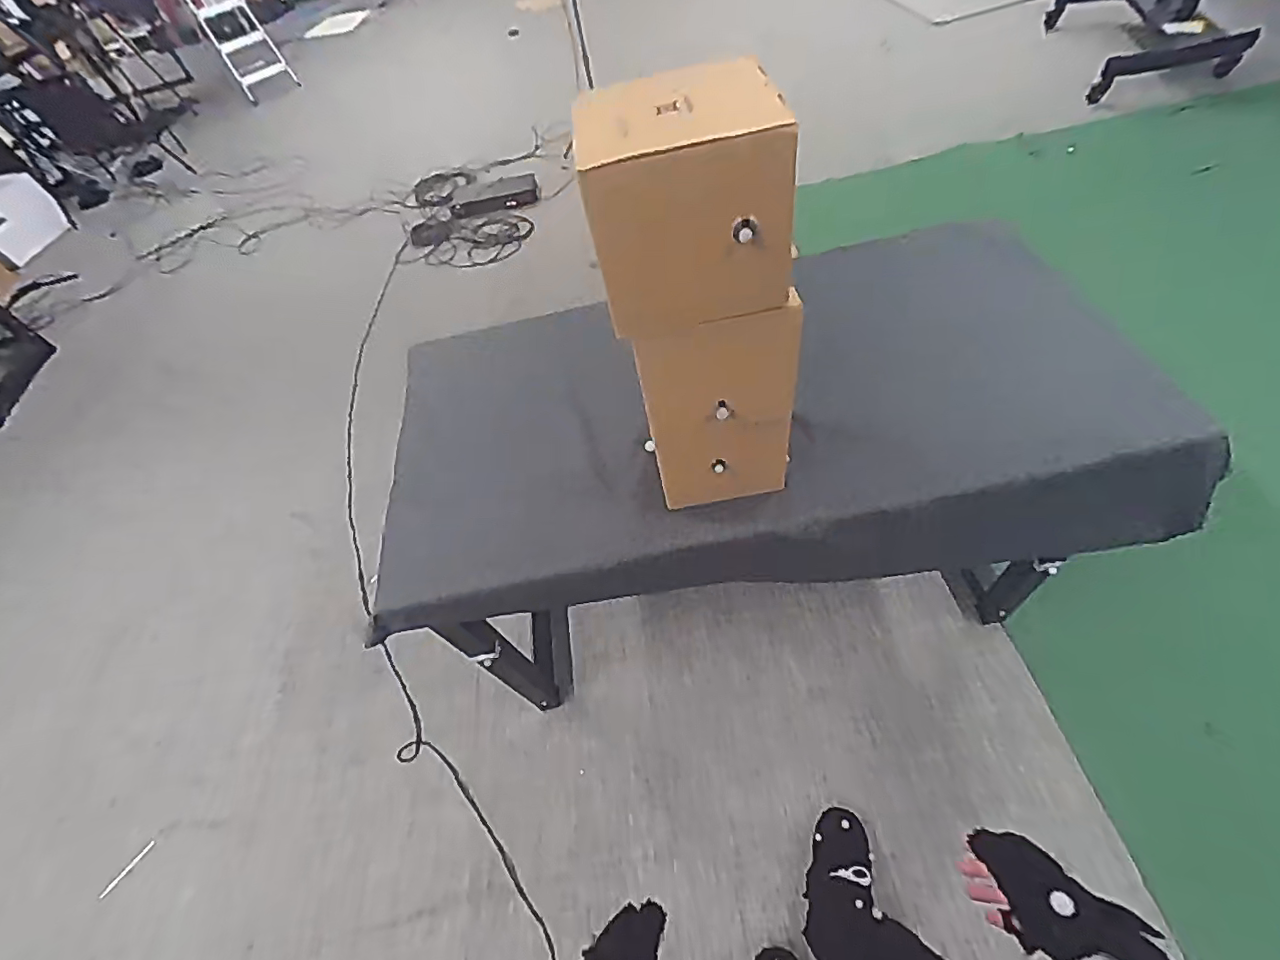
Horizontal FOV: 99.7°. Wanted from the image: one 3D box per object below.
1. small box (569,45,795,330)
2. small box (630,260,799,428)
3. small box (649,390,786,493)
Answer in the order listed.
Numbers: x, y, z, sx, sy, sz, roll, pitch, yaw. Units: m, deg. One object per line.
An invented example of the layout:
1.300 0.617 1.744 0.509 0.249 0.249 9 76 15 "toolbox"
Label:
0.039 -0.273 0.523 0.179 0.176 0.168 -11 53 5 "small box"
0.079 -0.185 0.655 0.179 0.176 0.168 -10 54 4 "small box"
0.105 -0.099 0.788 0.179 0.176 0.168 -8 53 5 "small box"
